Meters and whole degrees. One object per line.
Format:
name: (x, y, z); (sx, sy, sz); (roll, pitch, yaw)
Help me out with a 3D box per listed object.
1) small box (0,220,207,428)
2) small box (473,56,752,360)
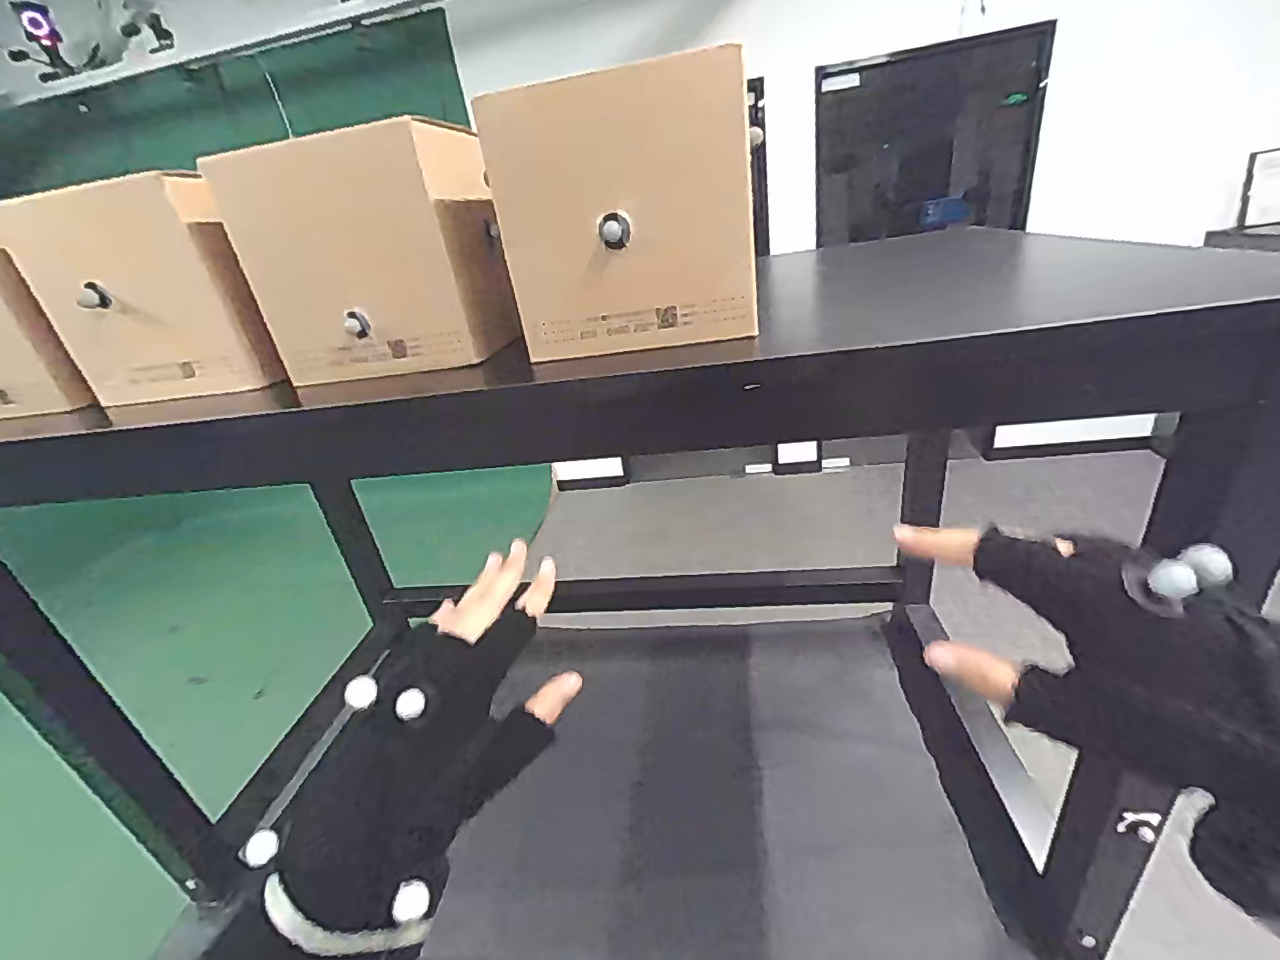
small box: (-0.596, -0.160, 0.550); (0.168, 0.176, 0.179); (-5, 27, 9)
small box: (-0.003, -0.197, 0.428); (0.168, 0.176, 0.179); (-4, 26, 9)
